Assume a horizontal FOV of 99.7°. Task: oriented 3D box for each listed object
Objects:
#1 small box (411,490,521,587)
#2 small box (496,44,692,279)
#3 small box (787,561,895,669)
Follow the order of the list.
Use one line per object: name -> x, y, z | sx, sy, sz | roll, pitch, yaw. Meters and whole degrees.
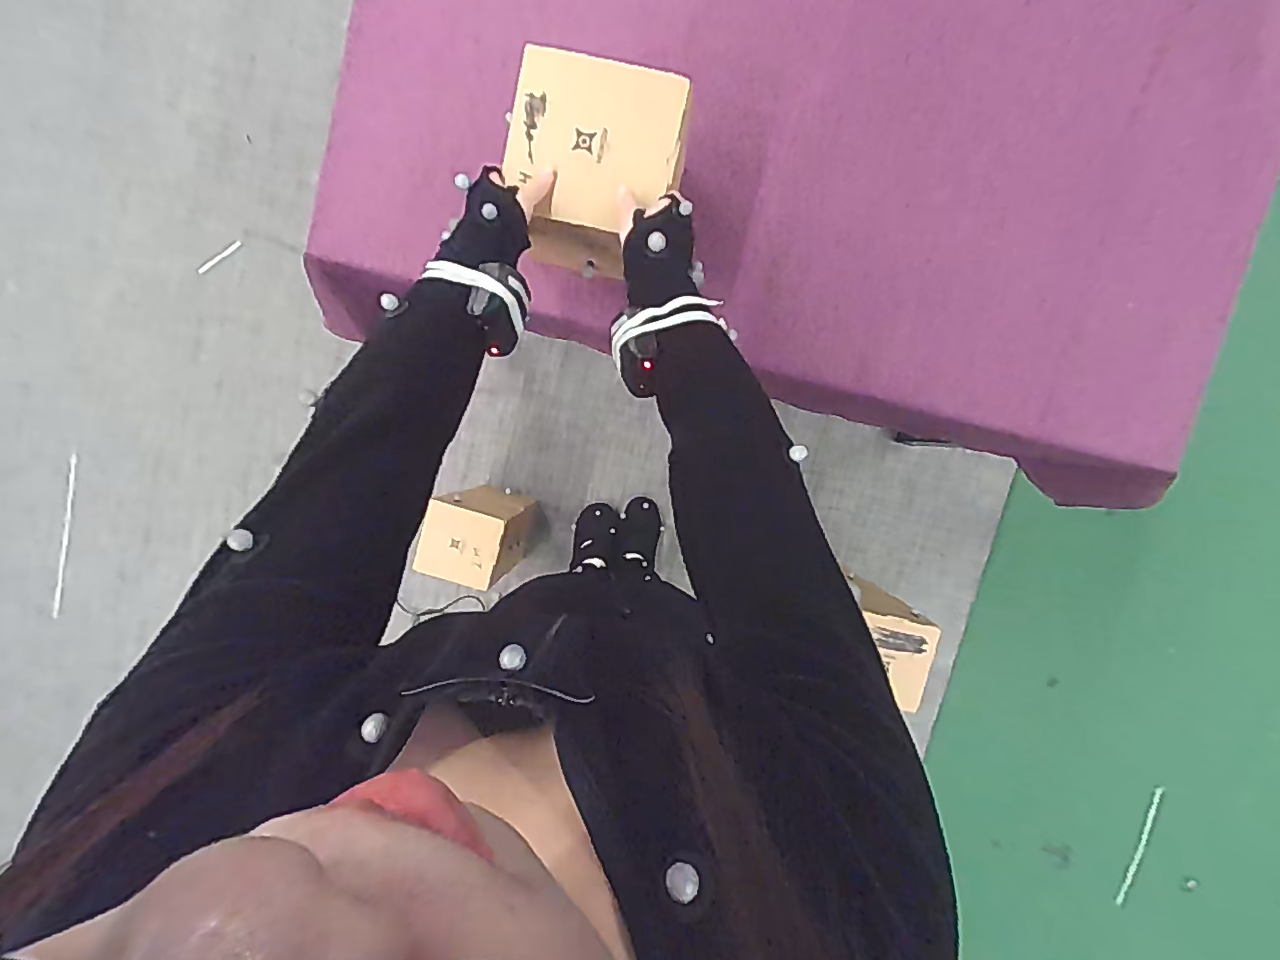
small box -> -0.396, 0.127, 1.256 | 0.179, 0.176, 0.168 | 17, 95, -1
small box -> -0.048, -0.351, 0.636 | 0.179, 0.176, 0.168 | 13, 95, -1
small box -> 0.456, 0.307, 1.260 | 0.168, 0.176, 0.179 | 15, 95, -2
